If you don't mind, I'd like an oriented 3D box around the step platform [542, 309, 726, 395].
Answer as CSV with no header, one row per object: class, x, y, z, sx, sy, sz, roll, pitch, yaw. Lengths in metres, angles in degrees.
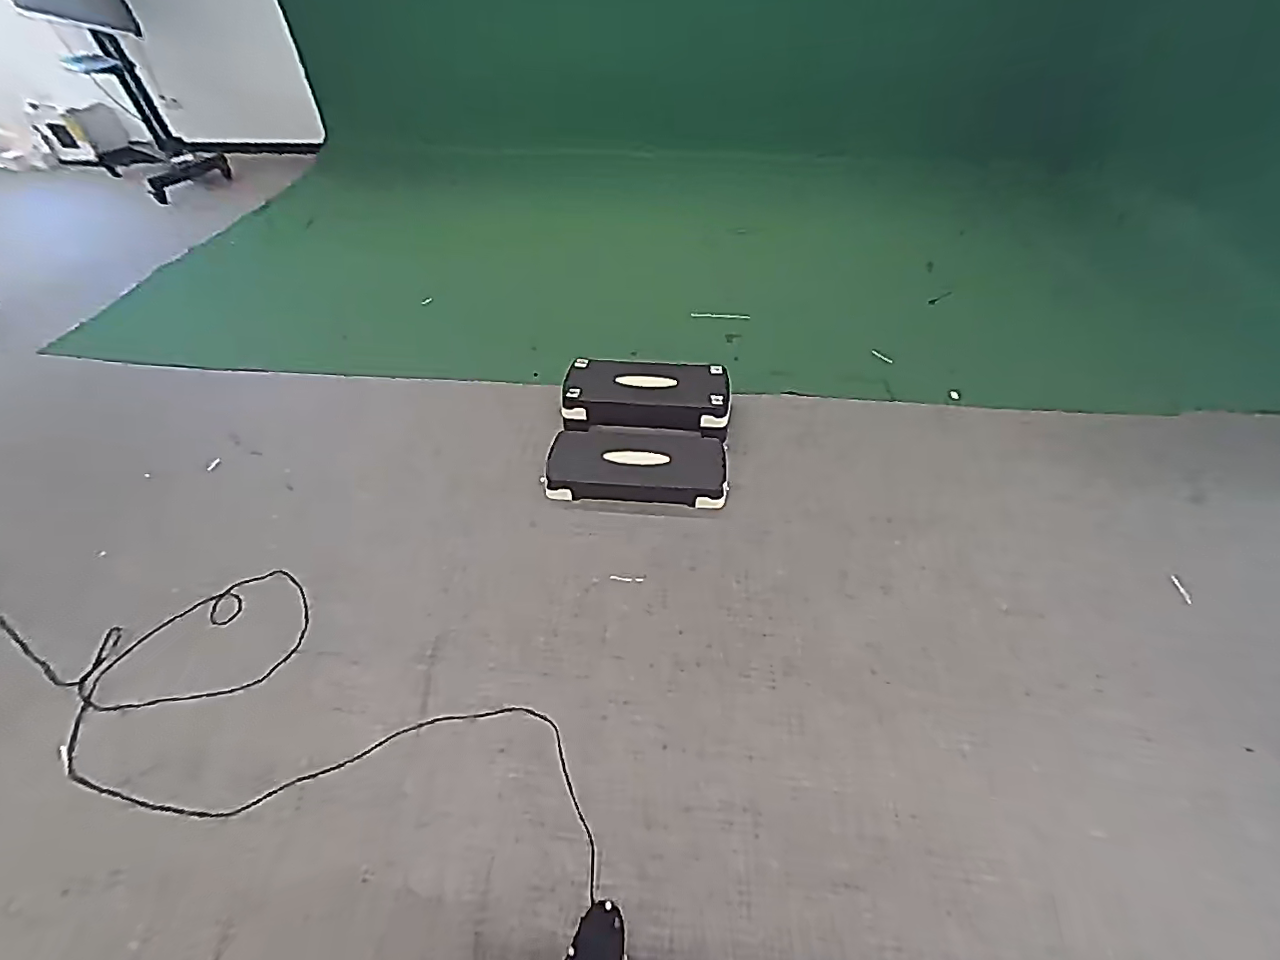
step platform,-0.019,-0.496,2.093,0.684,0.204,0.286,3,48,4
